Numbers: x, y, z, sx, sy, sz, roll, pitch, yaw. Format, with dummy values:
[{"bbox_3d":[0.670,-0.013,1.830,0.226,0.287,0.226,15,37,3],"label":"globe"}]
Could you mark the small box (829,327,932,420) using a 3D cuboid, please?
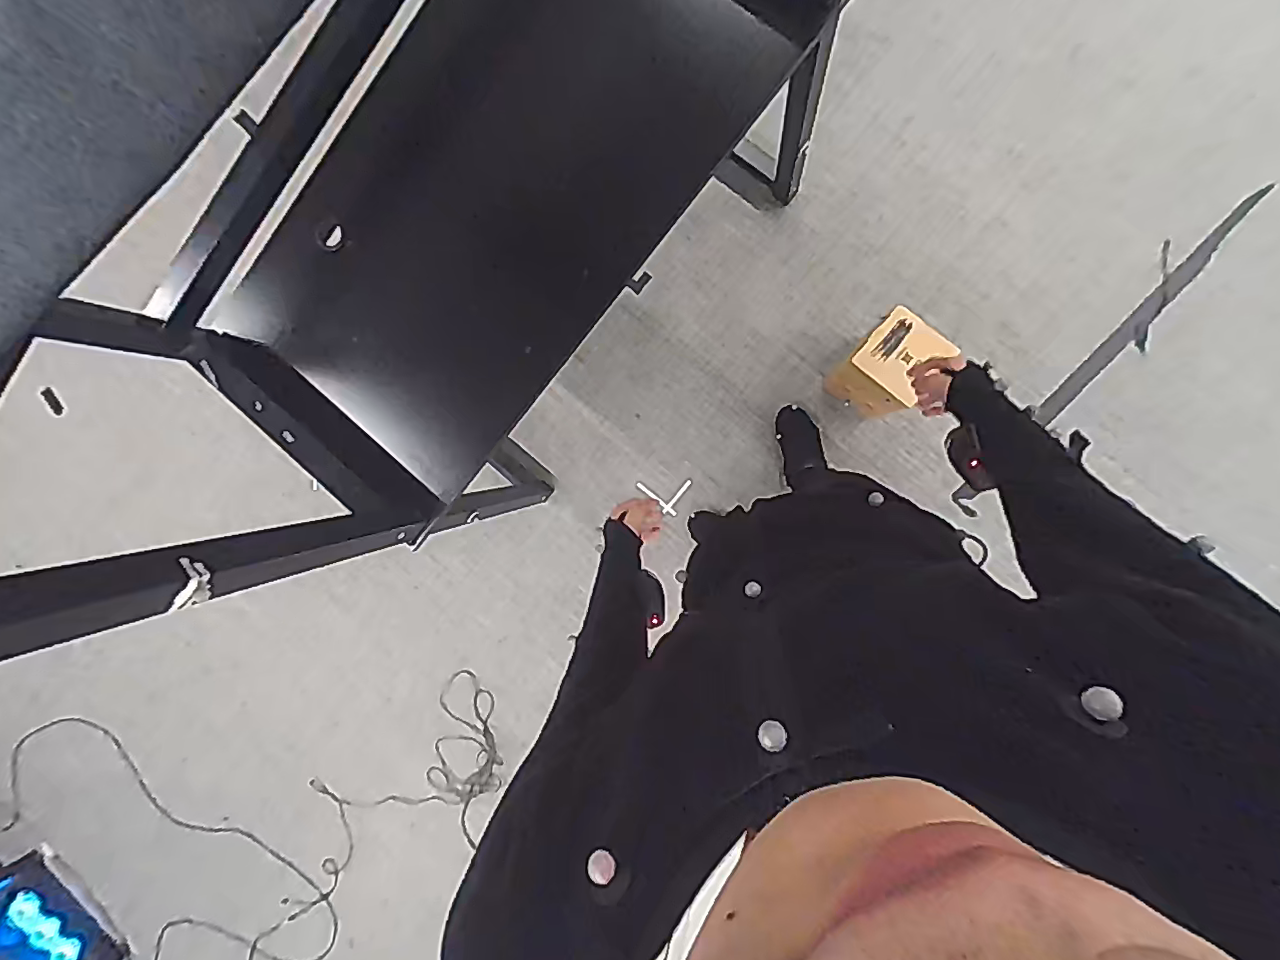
[{"bbox_3d":[0.635,-0.279,1.457,0.168,0.176,0.179,39,99,6],"label":"small box"}]
